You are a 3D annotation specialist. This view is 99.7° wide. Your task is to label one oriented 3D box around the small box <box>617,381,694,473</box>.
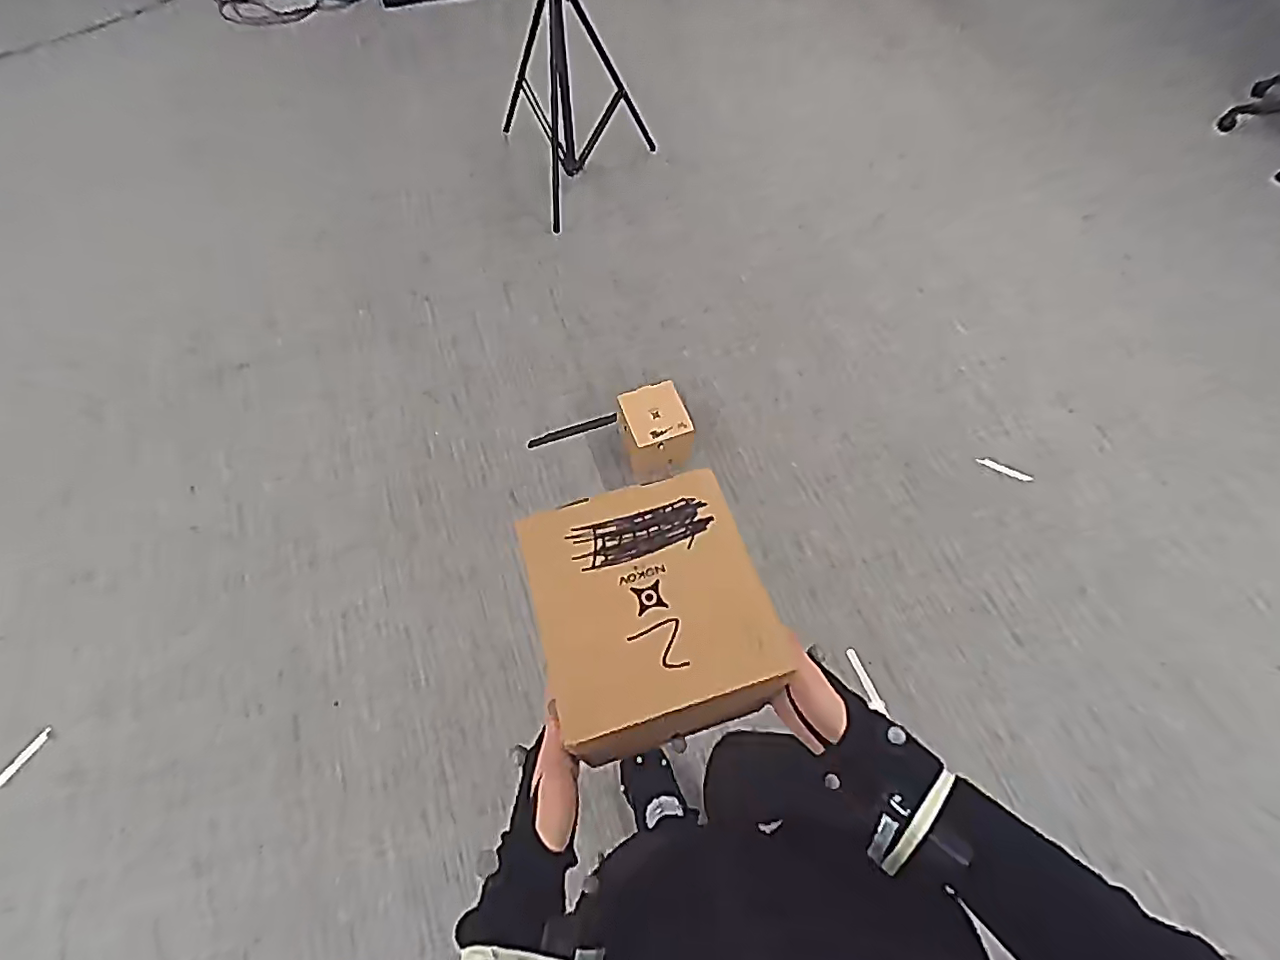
[{"bbox_3d":[0.038,-0.147,1.542,0.168,0.176,0.179,-19,66,-10],"label":"small box"}]
